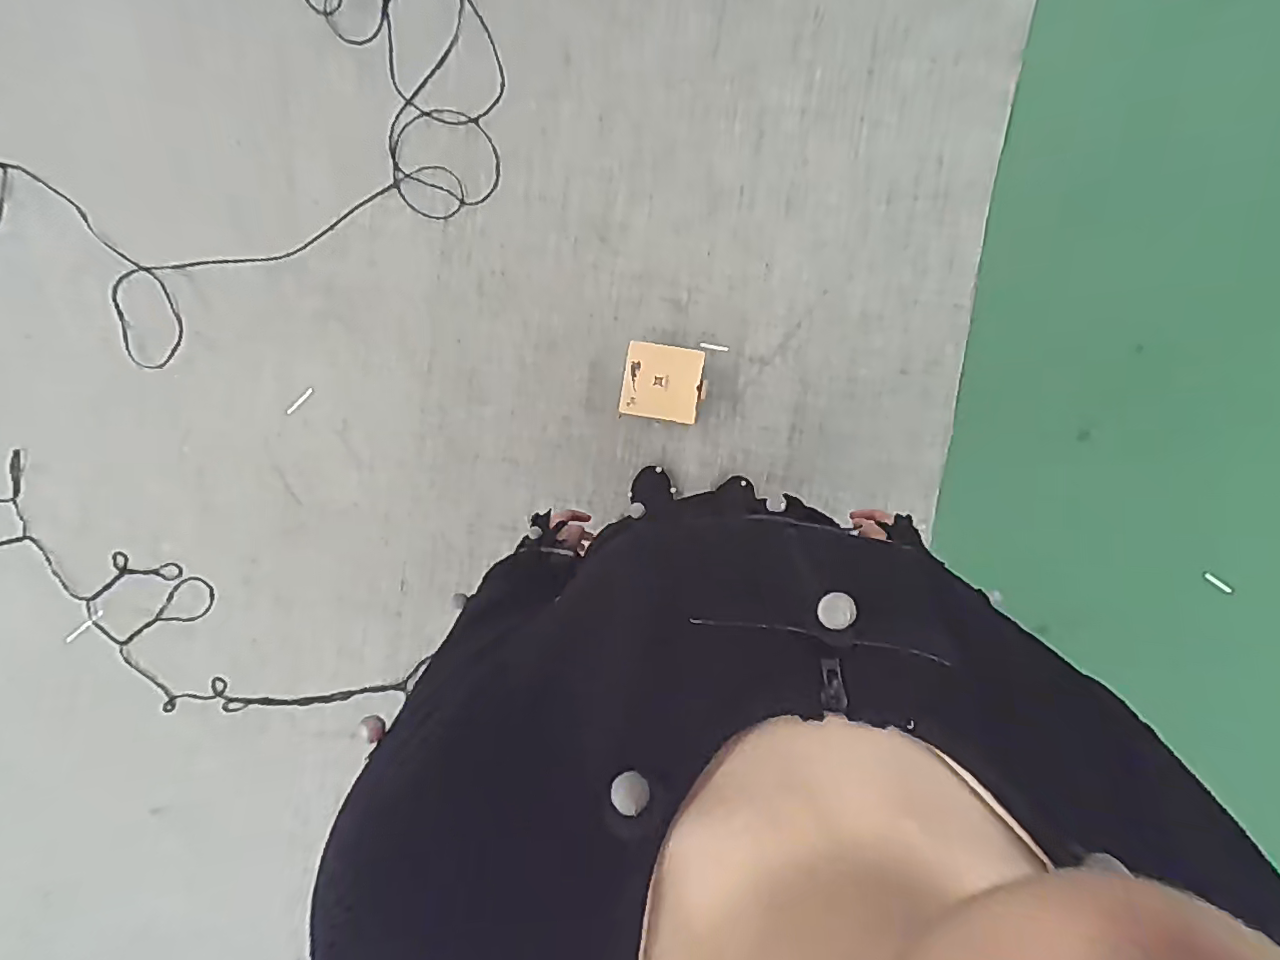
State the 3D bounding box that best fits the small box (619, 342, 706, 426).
[{"bbox_3d":[0.054,-0.223,1.290,0.179,0.176,0.168,9,94,3],"label":"small box"}]
